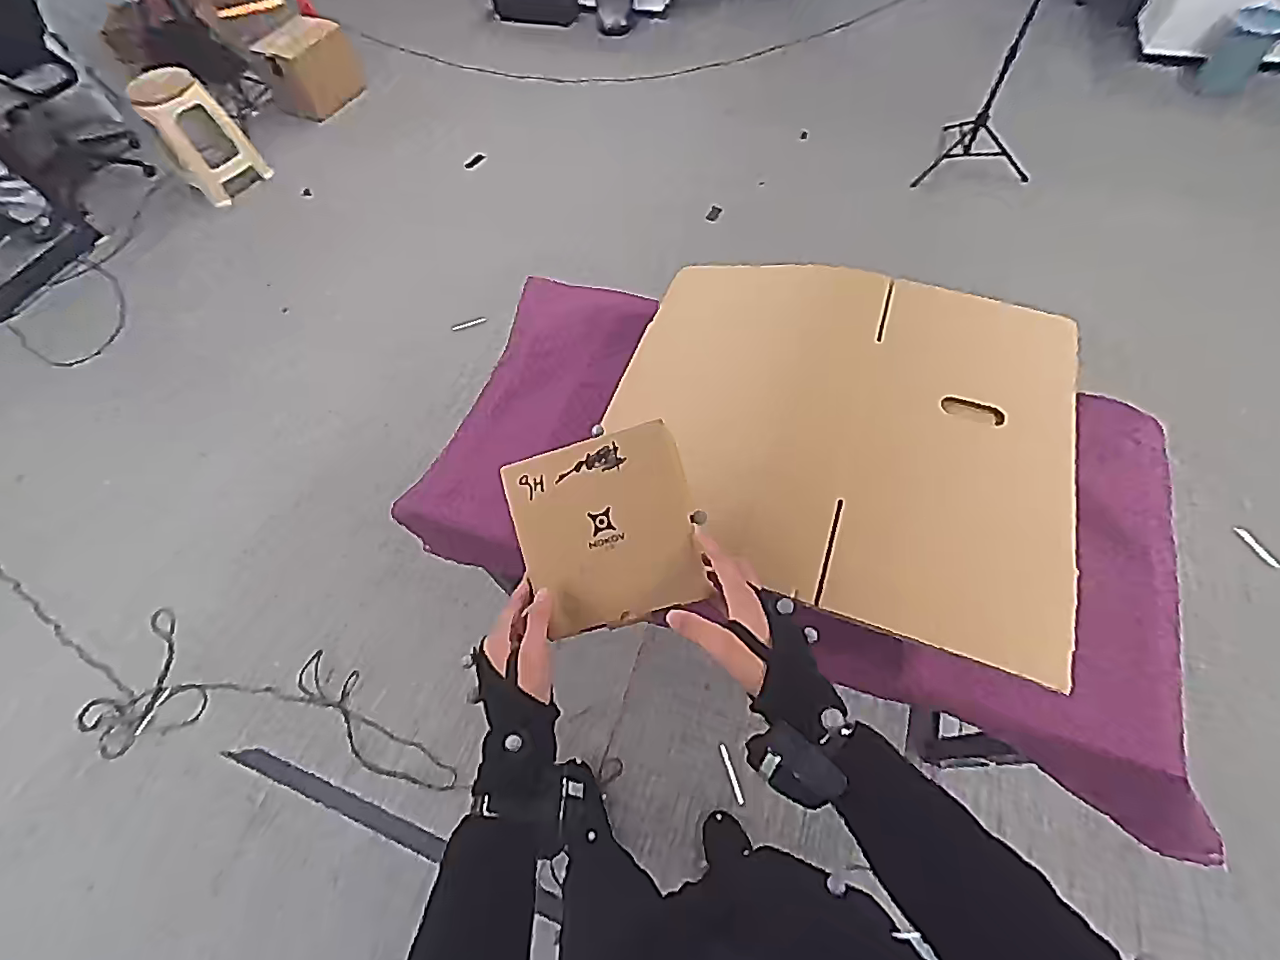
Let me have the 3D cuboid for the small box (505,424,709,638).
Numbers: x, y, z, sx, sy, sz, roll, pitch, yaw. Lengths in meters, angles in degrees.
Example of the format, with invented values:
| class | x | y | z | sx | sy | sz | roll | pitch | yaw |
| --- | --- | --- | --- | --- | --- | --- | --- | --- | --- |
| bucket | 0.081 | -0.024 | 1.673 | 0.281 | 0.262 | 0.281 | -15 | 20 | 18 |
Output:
| class | x | y | z | sx | sy | sz | roll | pitch | yaw |
| --- | --- | --- | --- | --- | --- | --- | --- | --- | --- |
| small box | -0.022 | 0.049 | 0.596 | 0.168 | 0.176 | 0.179 | -17 | 87 | 7 |
